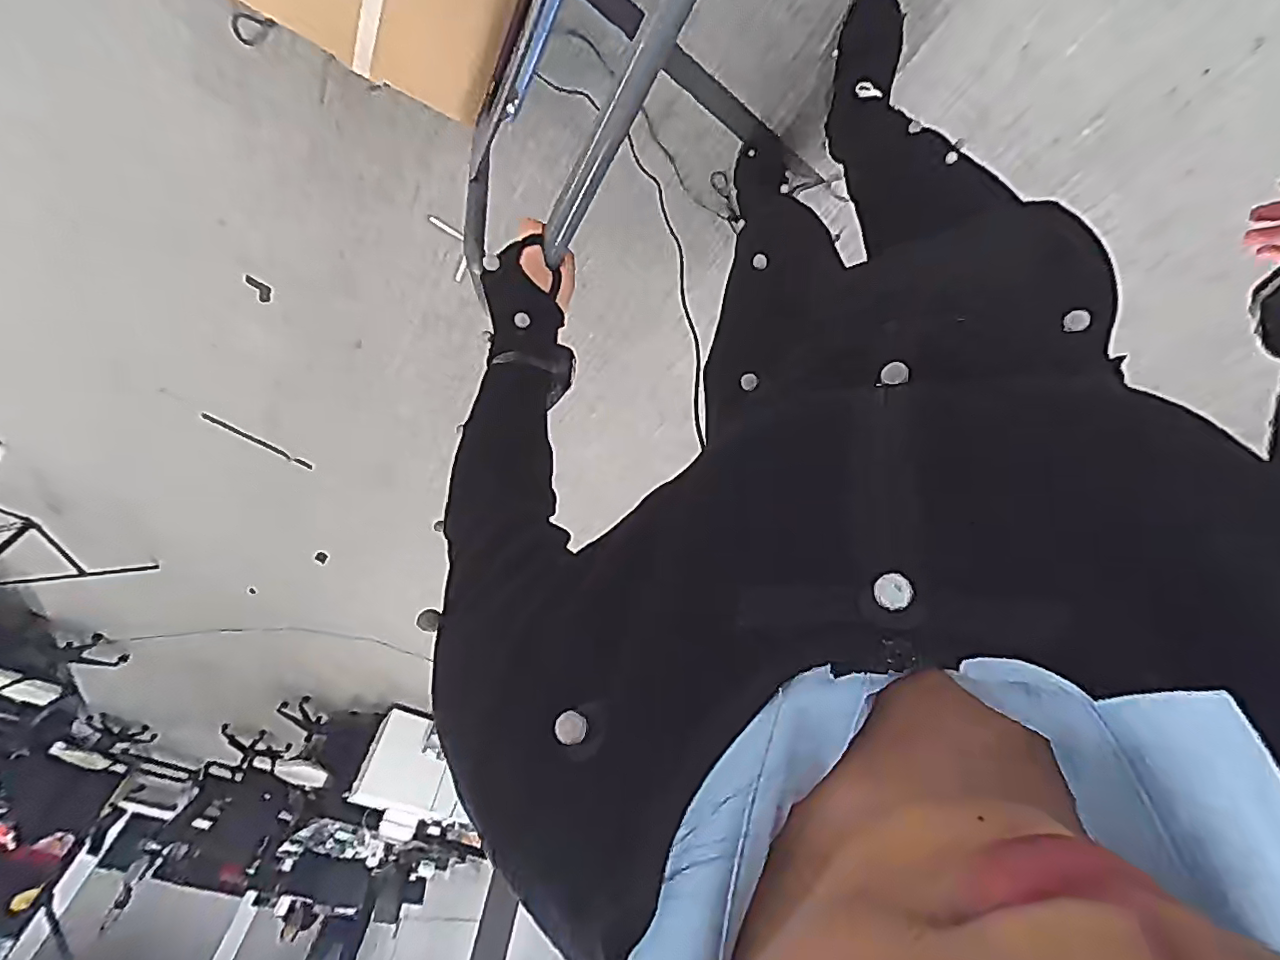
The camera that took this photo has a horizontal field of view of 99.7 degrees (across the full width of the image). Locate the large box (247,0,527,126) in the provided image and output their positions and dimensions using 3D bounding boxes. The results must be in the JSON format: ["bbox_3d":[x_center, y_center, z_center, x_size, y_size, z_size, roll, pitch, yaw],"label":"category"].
[{"bbox_3d":[-0.276,-0.781,0.688,0.320,0.320,0.408,16,138,-27],"label":"large box"}]
